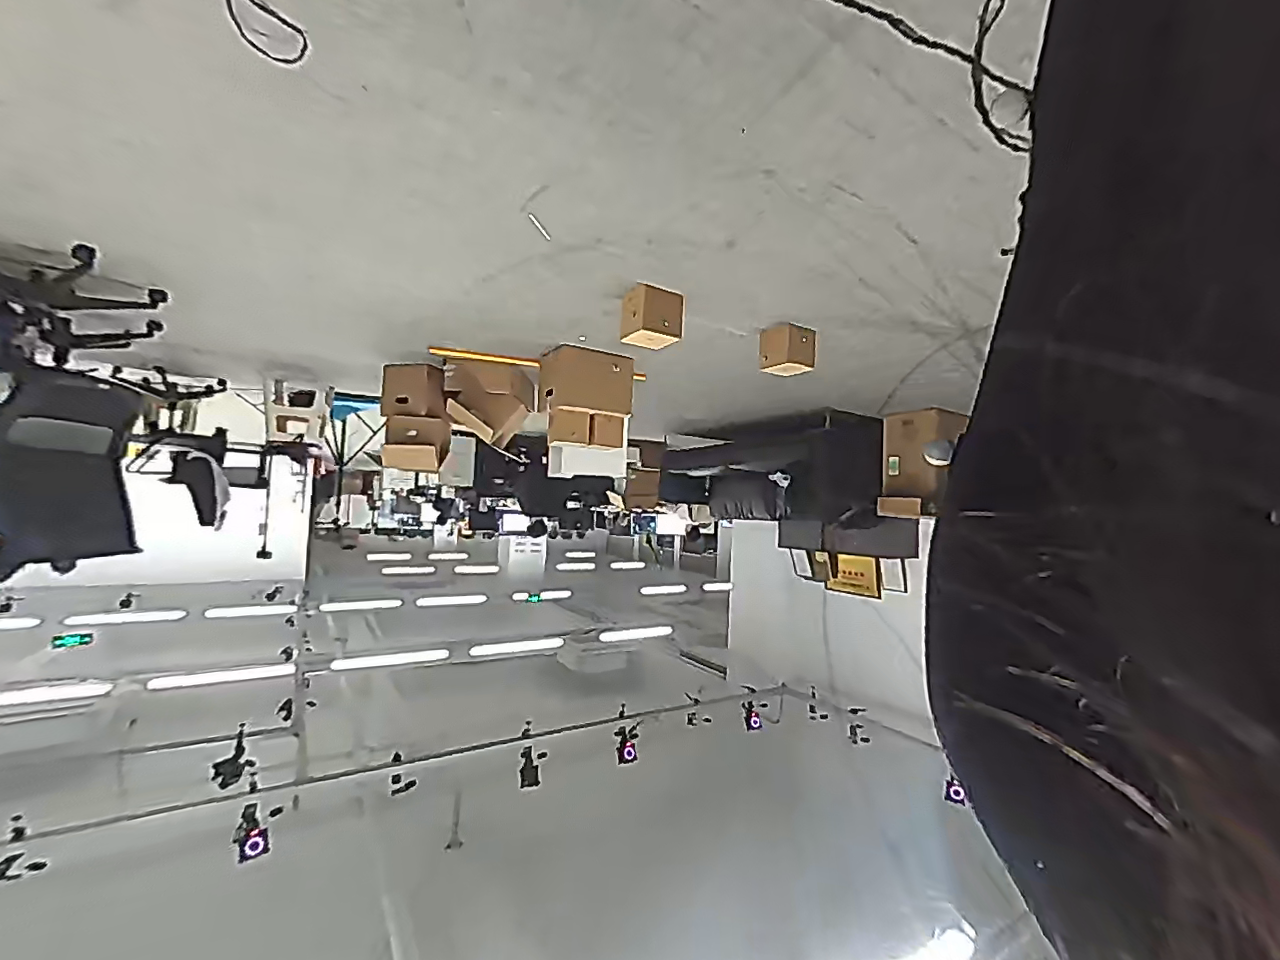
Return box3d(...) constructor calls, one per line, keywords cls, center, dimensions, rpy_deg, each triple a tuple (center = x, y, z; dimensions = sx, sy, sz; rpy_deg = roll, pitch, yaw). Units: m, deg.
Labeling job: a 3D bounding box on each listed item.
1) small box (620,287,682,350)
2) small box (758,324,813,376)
box3d(cls="small box", center=(0.039, -0.596, 1.997), dimensions=(0.179, 0.176, 0.168), rpy_deg=(3, 177, -31))
box3d(cls="small box", center=(0.632, -0.558, 2.339), dimensions=(0.168, 0.176, 0.179), rpy_deg=(3, 177, -31))
